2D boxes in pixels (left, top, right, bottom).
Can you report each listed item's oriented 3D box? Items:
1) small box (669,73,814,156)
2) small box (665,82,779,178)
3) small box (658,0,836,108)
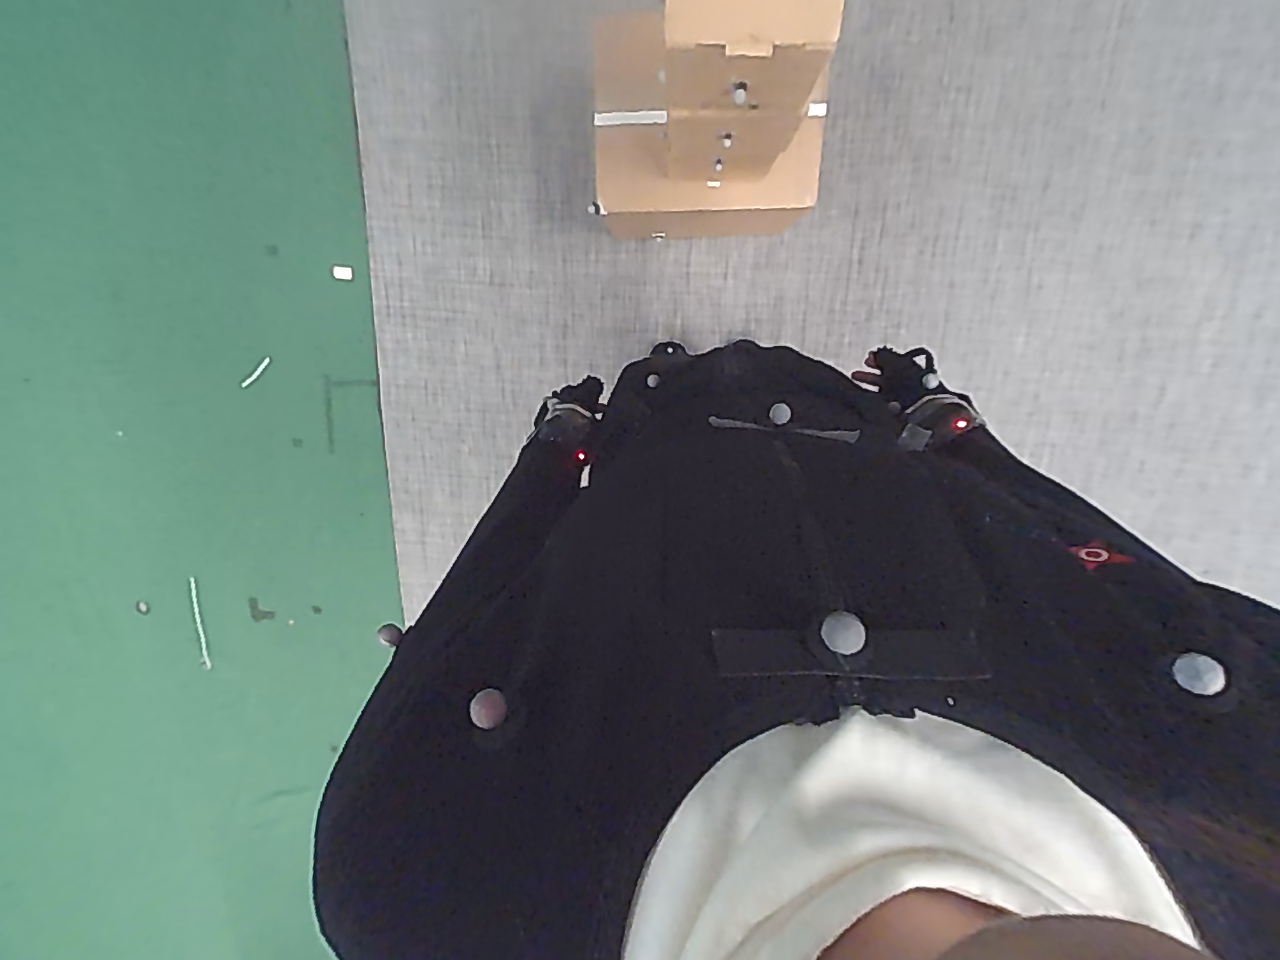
[{"bbox_3d":[0.127,-0.552,0.725,0.179,0.176,0.168,-2,107,5],"label":"small box"},{"bbox_3d":[0.133,-0.603,0.881,0.179,0.176,0.168,2,107,3],"label":"small box"},{"bbox_3d":[0.113,-0.516,0.565,0.168,0.176,0.179,5,107,4],"label":"small box"}]
